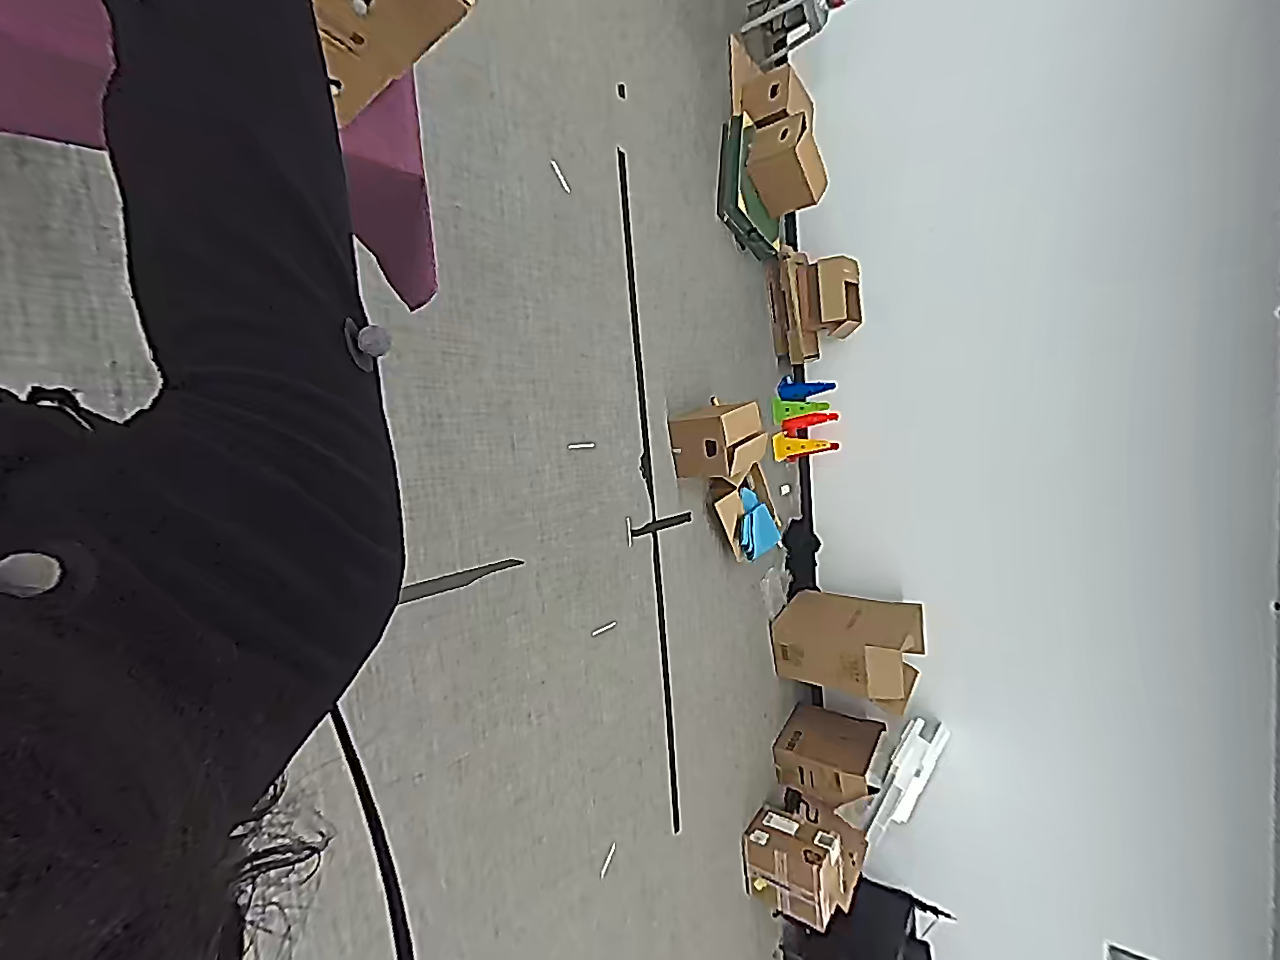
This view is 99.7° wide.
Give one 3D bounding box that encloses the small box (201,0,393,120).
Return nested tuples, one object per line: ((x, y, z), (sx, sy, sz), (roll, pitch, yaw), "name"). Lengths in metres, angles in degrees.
((-0.435, -0.613, 0.693), (0.168, 0.176, 0.179), (3, 85, -53), "small box")

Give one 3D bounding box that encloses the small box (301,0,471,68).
((-0.299, -0.619, 0.600), (0.168, 0.176, 0.179), (10, 82, -53), "small box")
